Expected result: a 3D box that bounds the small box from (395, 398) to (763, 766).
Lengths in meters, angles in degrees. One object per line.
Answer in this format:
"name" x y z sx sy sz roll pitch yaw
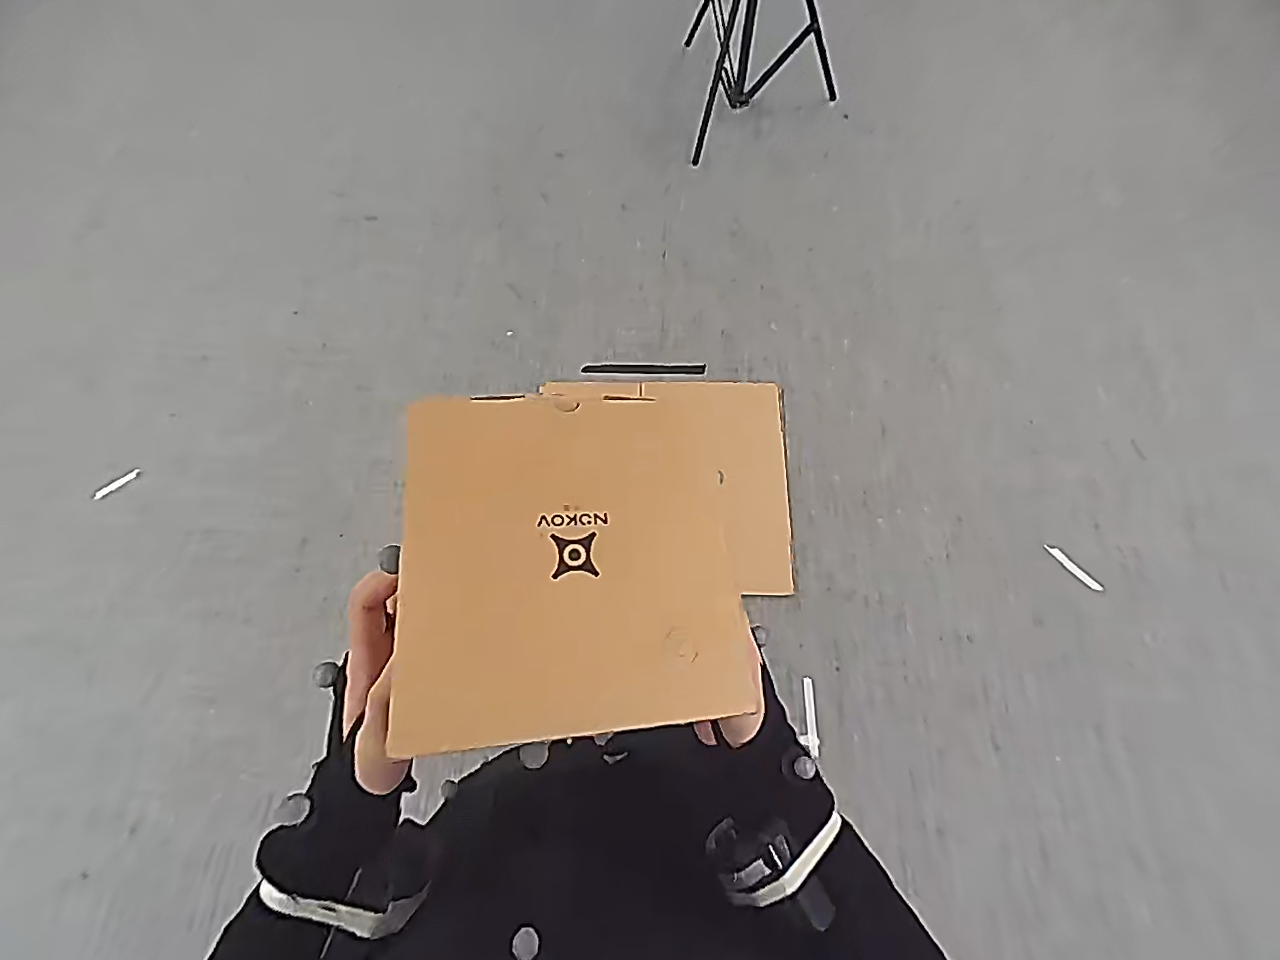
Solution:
"small box" -0.043 0.066 0.340 0.168 0.176 0.179 -2 67 -13
